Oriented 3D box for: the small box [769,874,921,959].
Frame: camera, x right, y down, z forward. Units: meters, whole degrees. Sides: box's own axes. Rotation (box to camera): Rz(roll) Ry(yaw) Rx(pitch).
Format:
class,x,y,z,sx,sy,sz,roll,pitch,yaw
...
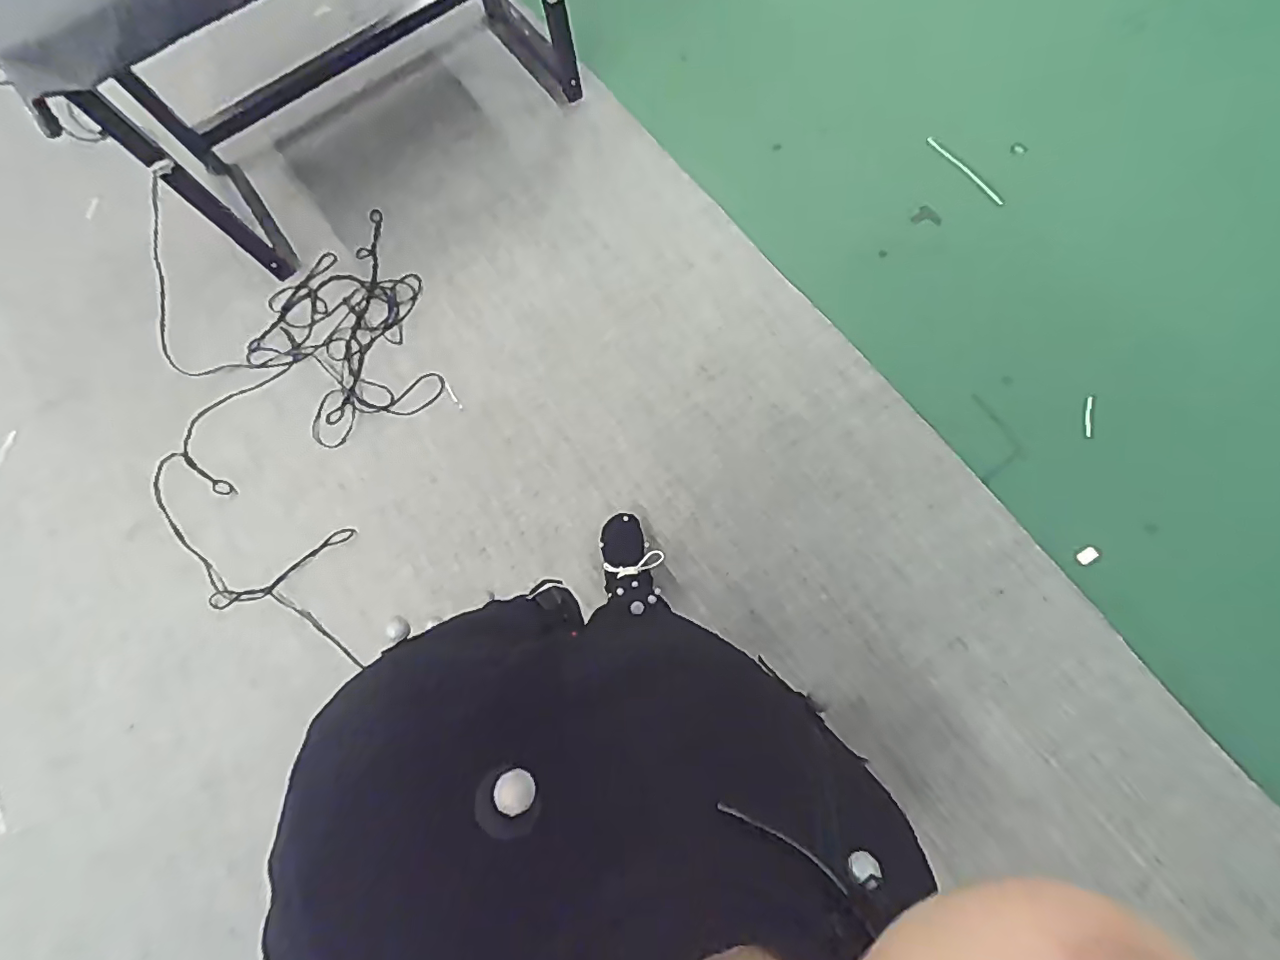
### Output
class,x,y,z,sx,sy,sz,roll,pitch,yaw
small box,0.285,0.653,0.678,0.168,0.176,0.179,-31,74,-4
